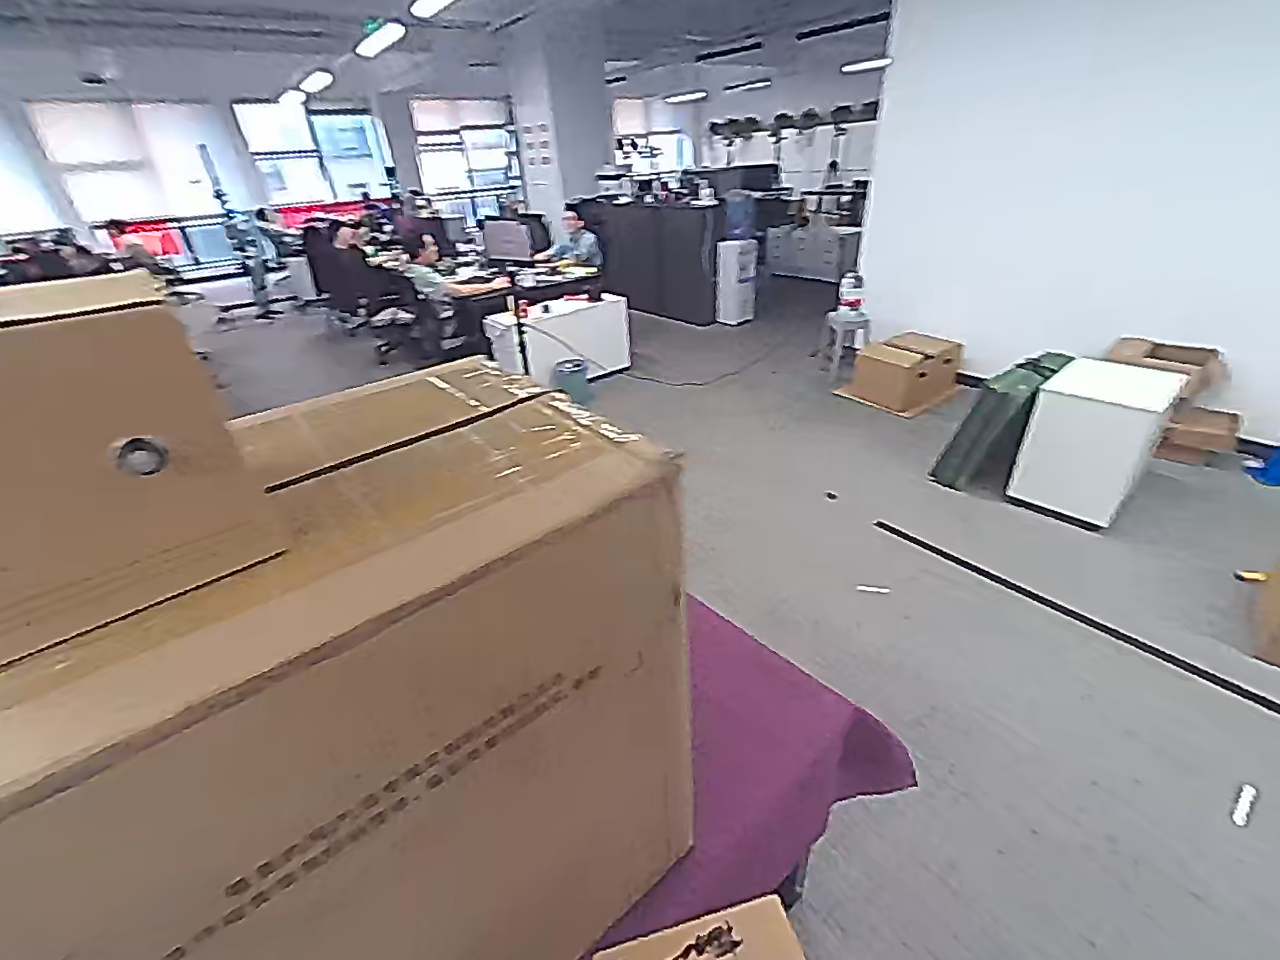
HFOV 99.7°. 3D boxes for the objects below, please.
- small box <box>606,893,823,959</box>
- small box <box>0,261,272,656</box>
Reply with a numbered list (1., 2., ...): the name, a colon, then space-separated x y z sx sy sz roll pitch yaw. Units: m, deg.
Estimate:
1. small box: 0.078 0.464 0.391 0.168 0.176 0.179 -11 16 -7
2. small box: -0.354 -0.023 0.324 0.179 0.176 0.168 -28 38 -34
